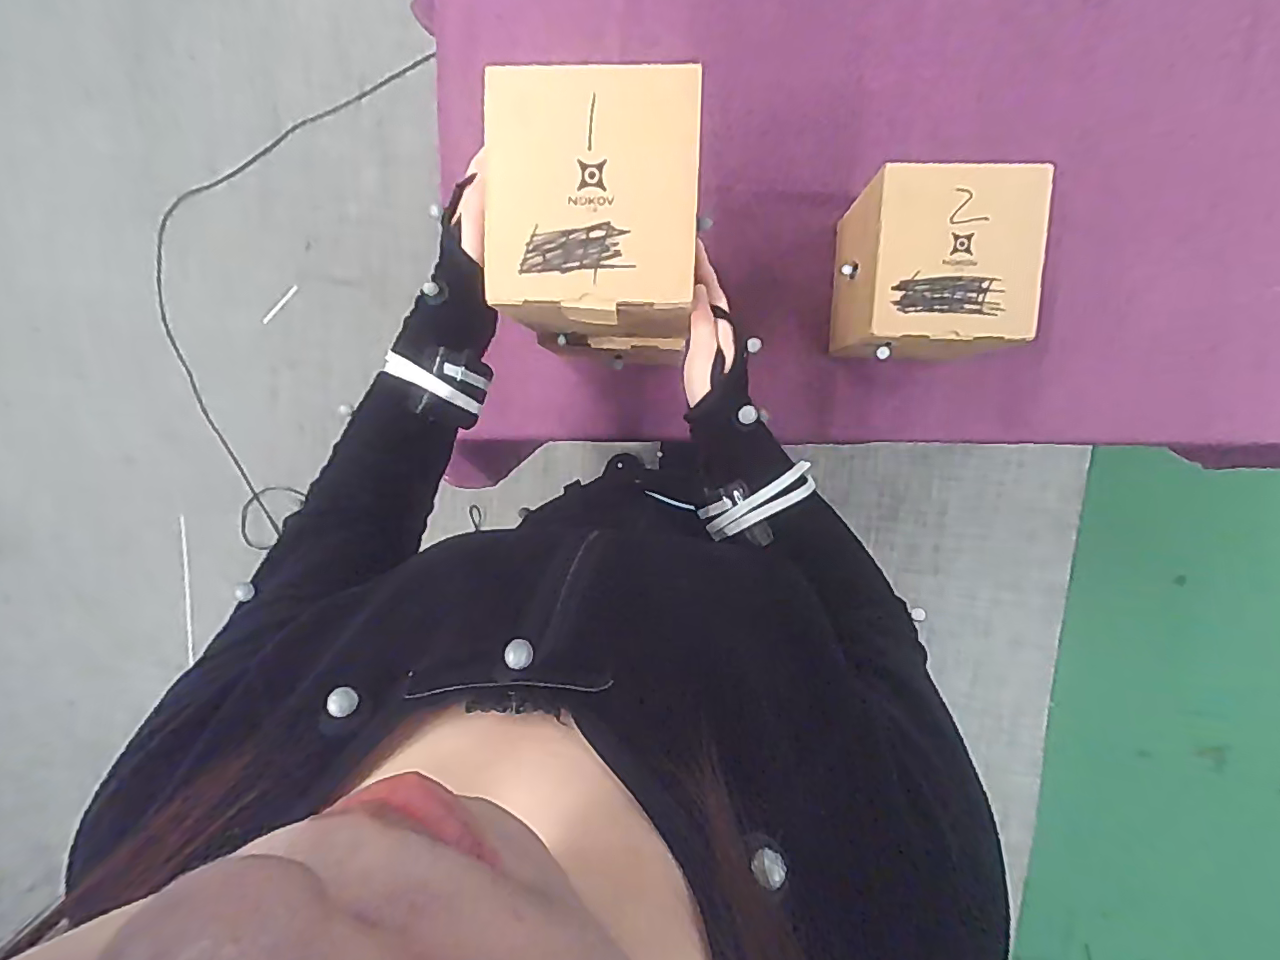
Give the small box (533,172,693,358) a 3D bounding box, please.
[{"bbox_3d":[-0.027,-0.245,0.656,0.168,0.176,0.179,4,98,2],"label":"small box"}]
